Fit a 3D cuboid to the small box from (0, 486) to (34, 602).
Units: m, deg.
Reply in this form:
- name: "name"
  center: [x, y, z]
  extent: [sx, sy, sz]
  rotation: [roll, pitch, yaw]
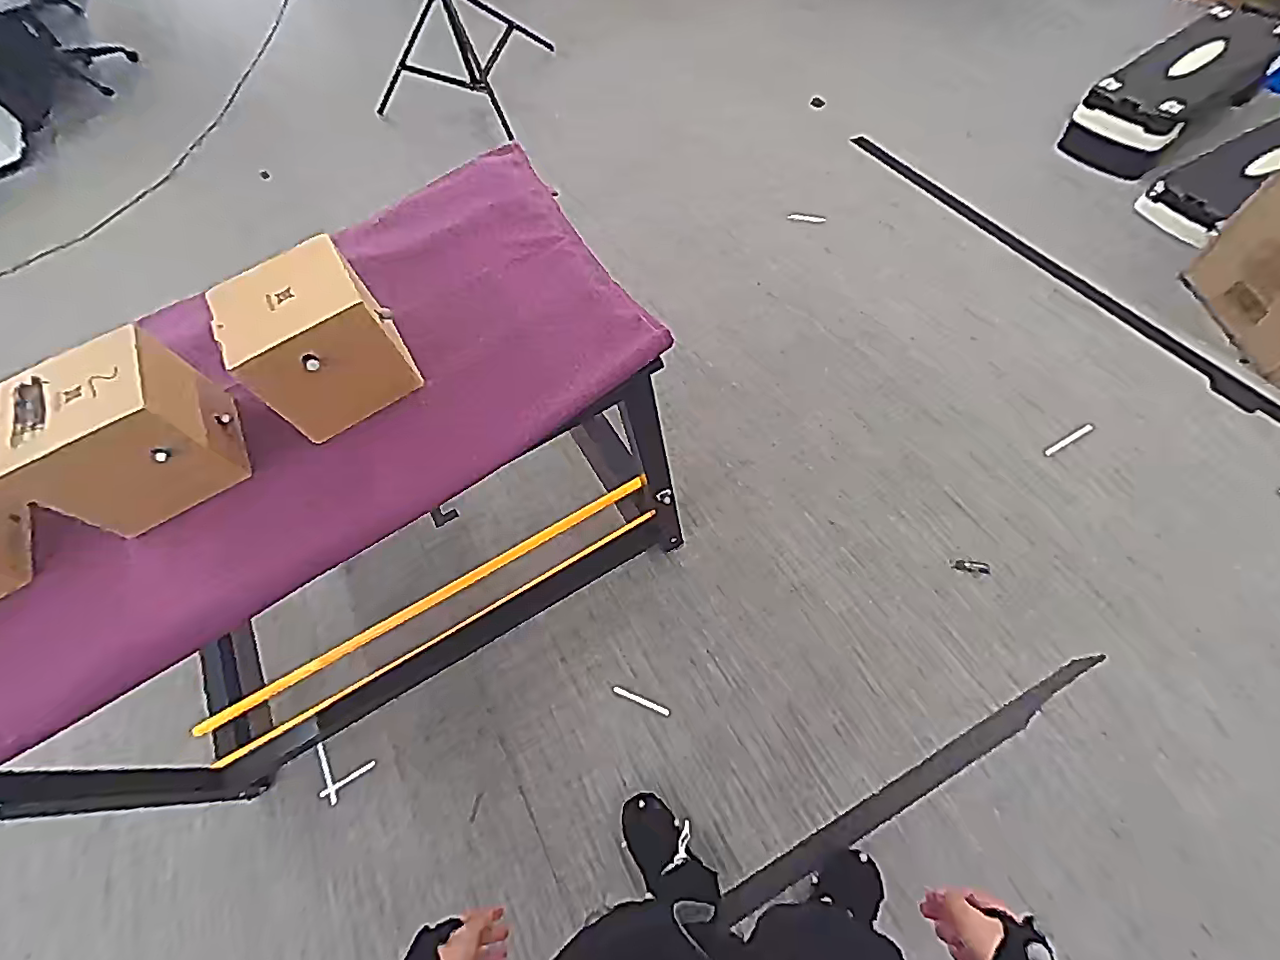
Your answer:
- name: "small box"
  center: [-0.930, 0.086, 0.677]
  extent: [0.179, 0.176, 0.168]
  rotation: [-31, 62, -11]

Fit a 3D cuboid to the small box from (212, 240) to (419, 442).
- name: "small box"
  center: [-0.436, -0.187, 0.755]
  extent: [0.179, 0.176, 0.168]
  rotation: [-32, 62, -8]
